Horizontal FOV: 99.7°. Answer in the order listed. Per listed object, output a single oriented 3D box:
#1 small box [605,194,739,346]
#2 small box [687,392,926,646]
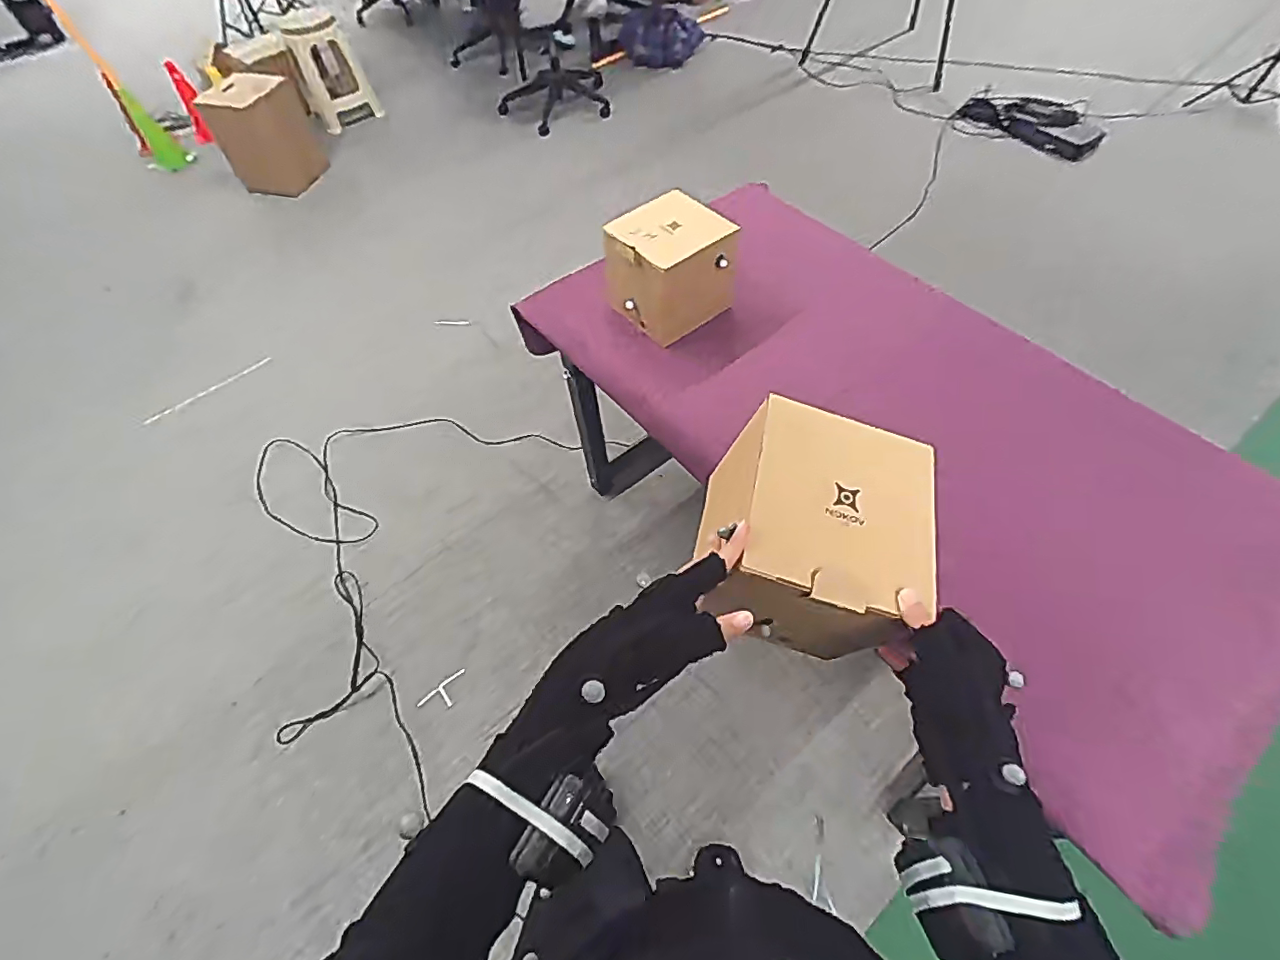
[{"bbox_3d":[0.056,-0.384,0.997,0.179,0.176,0.168,-36,62,-18],"label":"small box"},{"bbox_3d":[0.155,0.049,0.537,0.168,0.176,0.179,17,63,-3],"label":"small box"}]
